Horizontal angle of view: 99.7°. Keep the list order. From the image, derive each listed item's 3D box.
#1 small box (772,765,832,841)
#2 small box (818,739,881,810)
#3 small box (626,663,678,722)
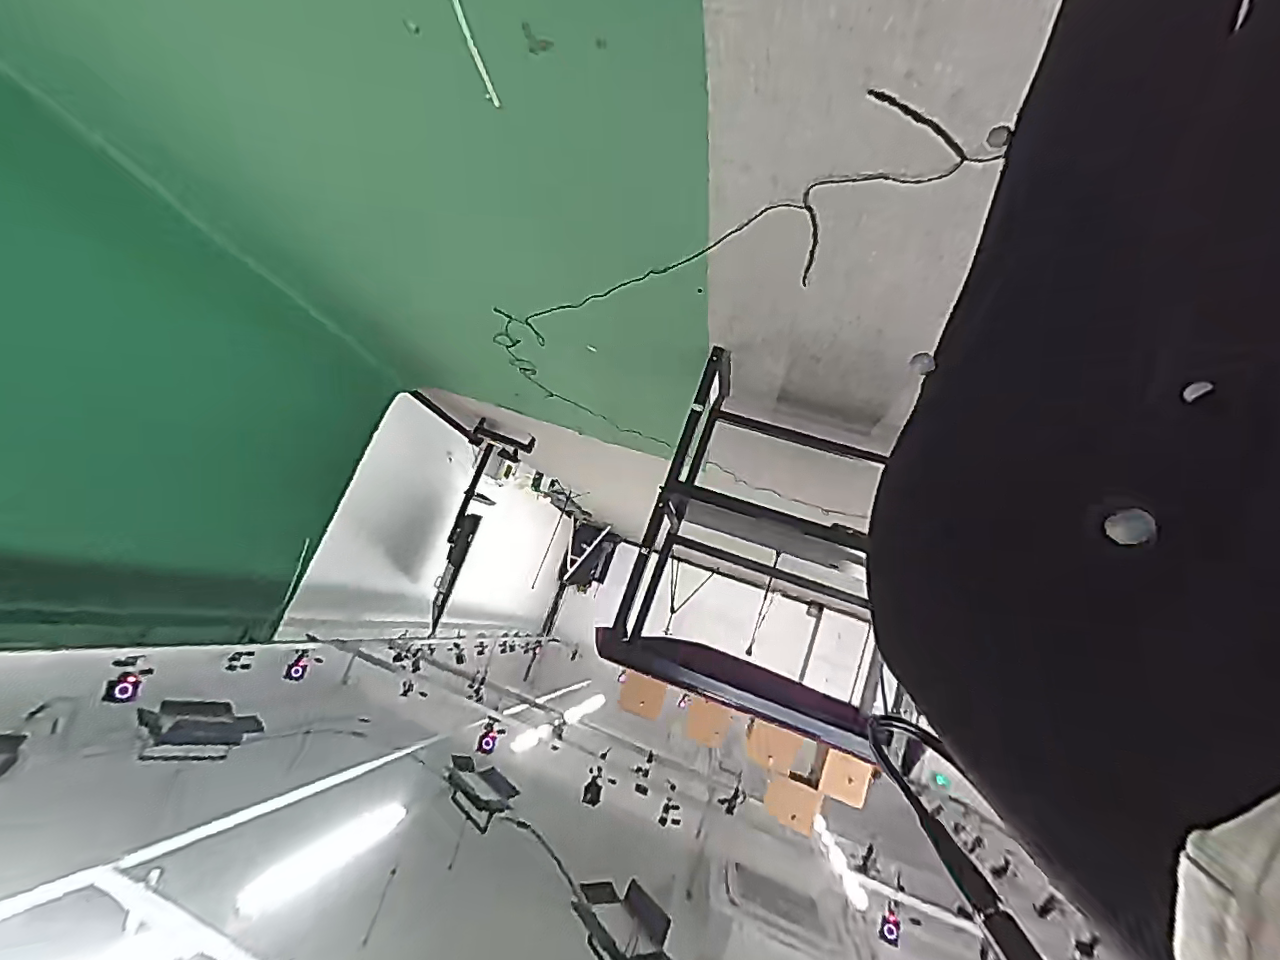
[{"bbox_3d":[0.615,1.218,2.052,0.179,0.176,0.168,18,169,15],"label":"small box"},{"bbox_3d":[0.799,1.110,2.057,0.168,0.176,0.179,18,170,10],"label":"small box"},{"bbox_3d":[0.055,0.877,2.240,0.179,0.176,0.168,18,167,9],"label":"small box"}]
